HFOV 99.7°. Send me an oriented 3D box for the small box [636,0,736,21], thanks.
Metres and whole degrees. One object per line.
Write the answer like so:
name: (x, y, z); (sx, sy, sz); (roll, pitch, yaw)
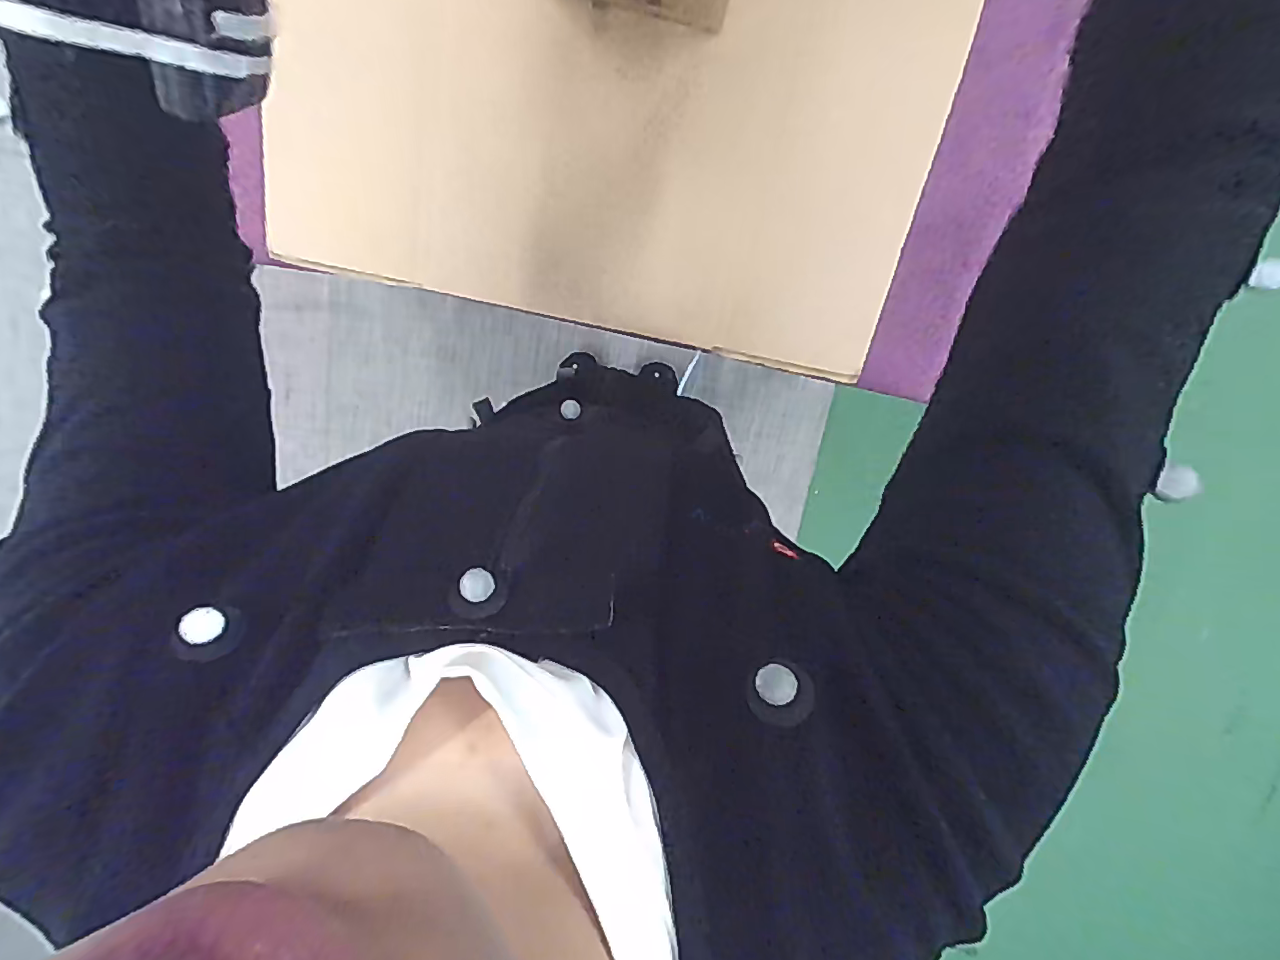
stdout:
small box: (0.010, -0.461, 0.362); (0.168, 0.176, 0.179); (9, 104, -2)
